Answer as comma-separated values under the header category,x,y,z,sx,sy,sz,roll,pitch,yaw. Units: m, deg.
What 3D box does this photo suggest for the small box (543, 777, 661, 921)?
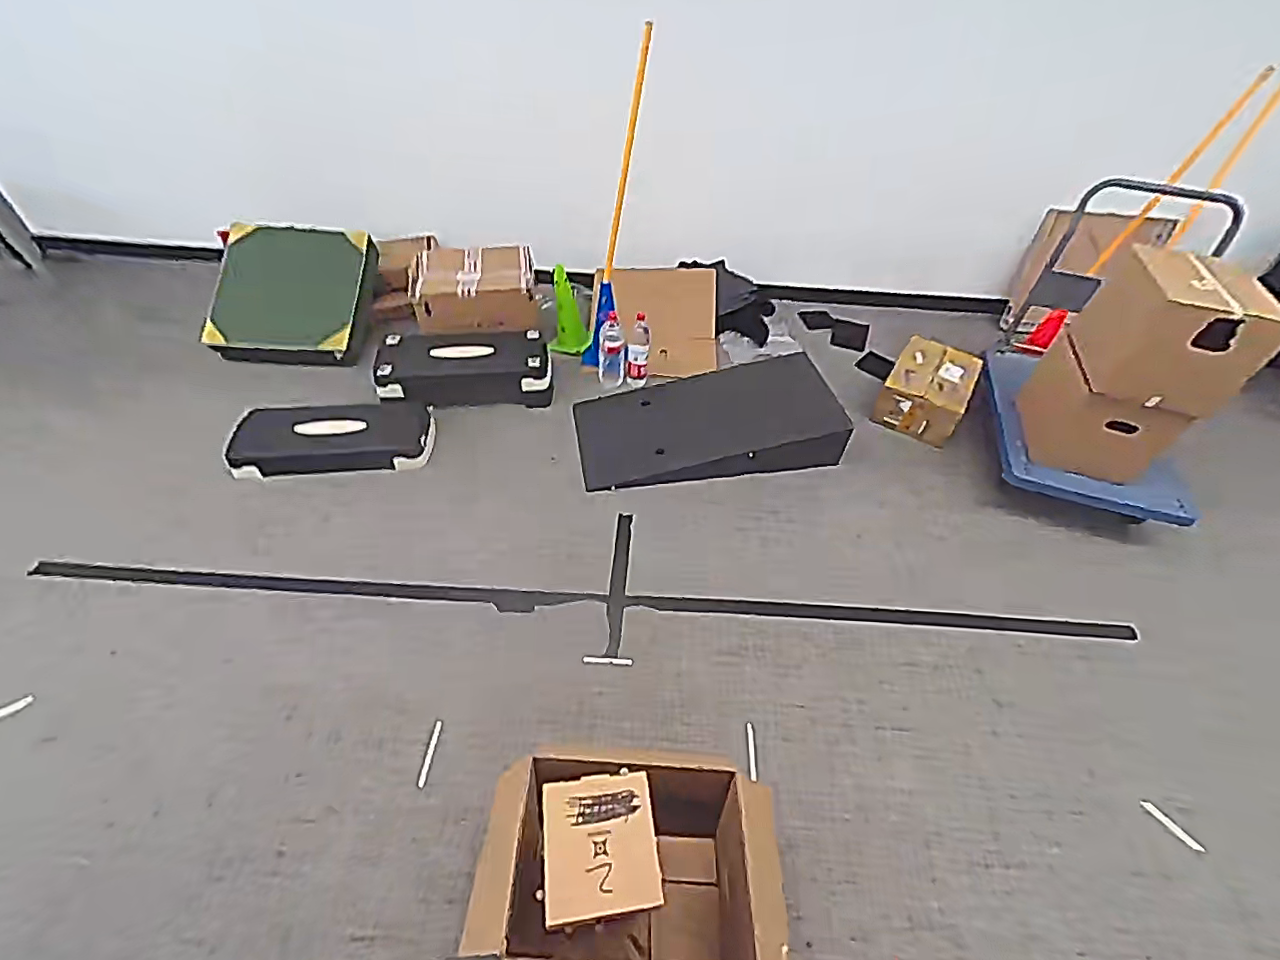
category,x,y,z,sx,sy,sz,roll,pitch,yaw
small box,-0.076,0.682,0.997,0.179,0.176,0.168,-10,51,-17
